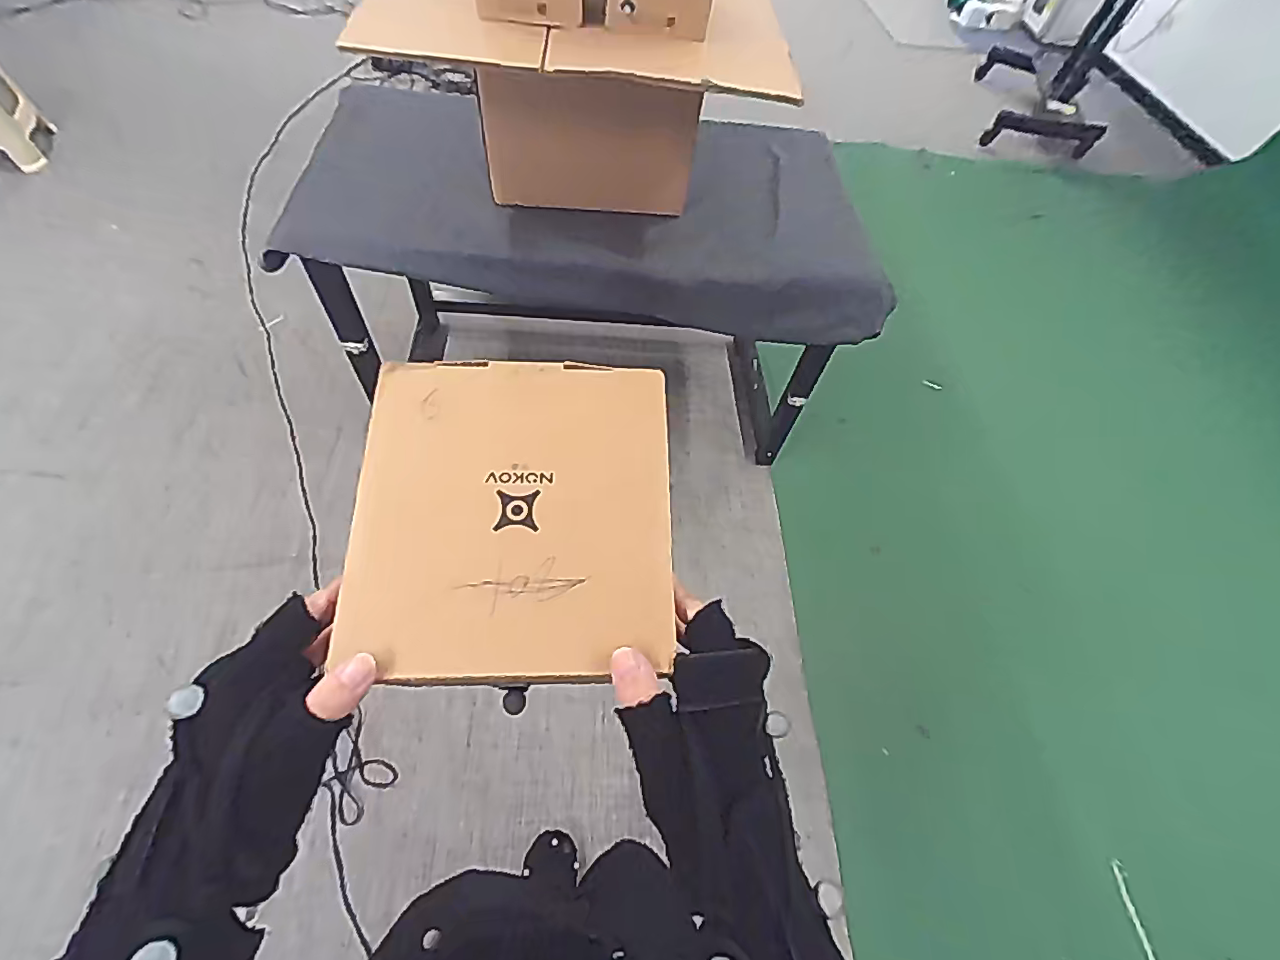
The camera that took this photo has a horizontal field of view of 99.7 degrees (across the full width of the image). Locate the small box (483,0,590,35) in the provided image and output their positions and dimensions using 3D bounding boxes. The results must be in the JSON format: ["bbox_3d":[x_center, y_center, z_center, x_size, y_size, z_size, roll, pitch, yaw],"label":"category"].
[{"bbox_3d":[-0.163,-0.836,0.842,0.168,0.176,0.179,2,58,-4],"label":"small box"}]

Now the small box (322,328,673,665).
[{"bbox_3d":[-0.073,0.026,0.358,0.168,0.176,0.179,1,69,-5],"label":"small box"}]
